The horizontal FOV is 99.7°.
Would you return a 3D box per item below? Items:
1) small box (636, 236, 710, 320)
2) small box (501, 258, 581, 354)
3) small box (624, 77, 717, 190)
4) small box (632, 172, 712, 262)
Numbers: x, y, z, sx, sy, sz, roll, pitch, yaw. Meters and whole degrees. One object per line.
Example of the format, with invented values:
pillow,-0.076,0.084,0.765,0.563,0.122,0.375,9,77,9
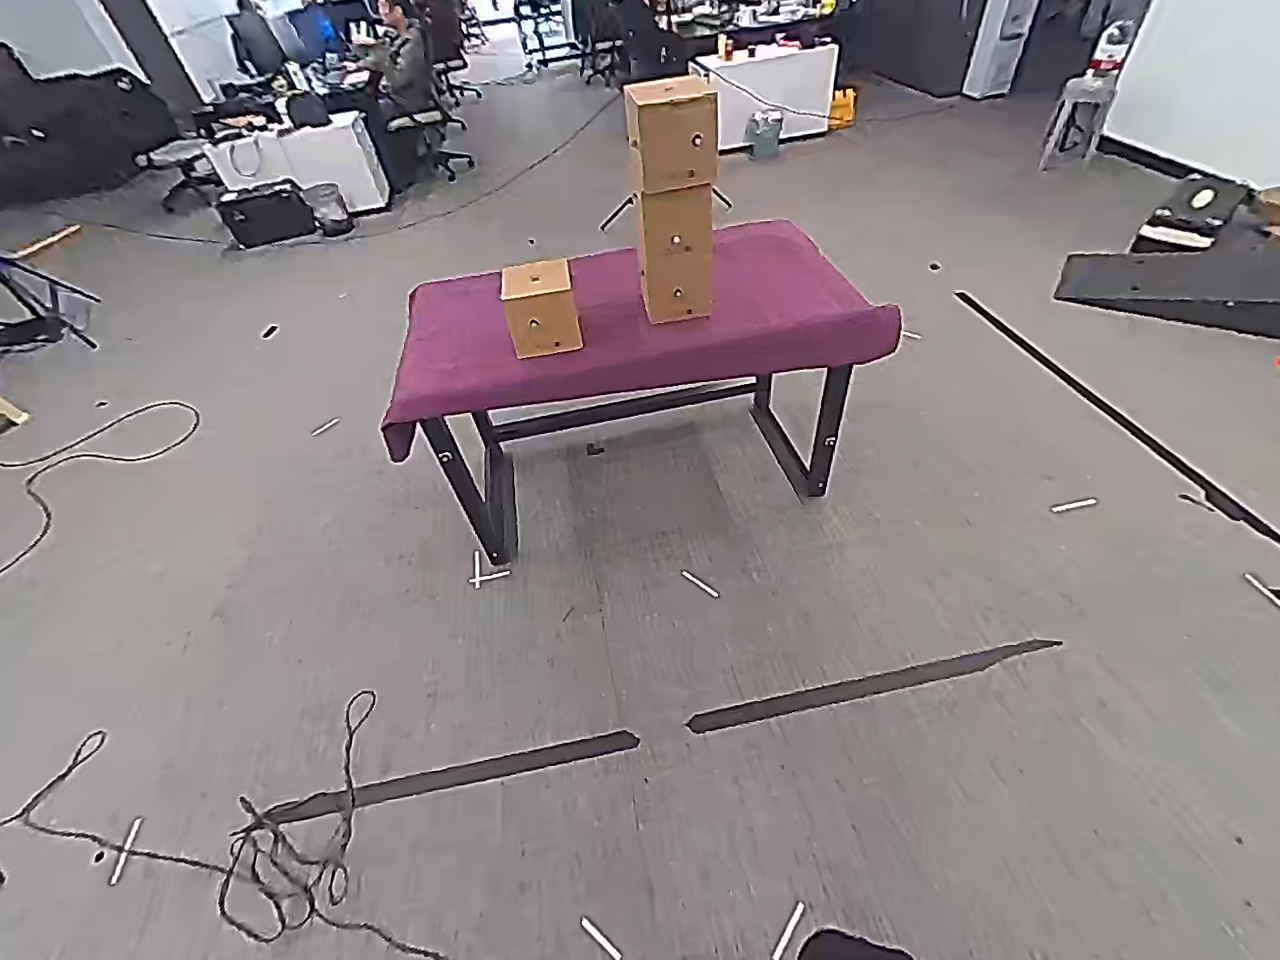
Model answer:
small box,0.088,-0.537,1.424,0.168,0.176,0.179,-9,46,-2
small box,-0.248,-0.433,1.371,0.168,0.176,0.179,-11,46,-3
small box,0.066,-0.746,1.174,0.168,0.176,0.179,-11,46,-4
small box,0.075,-0.651,1.307,0.168,0.176,0.179,-10,47,-2
